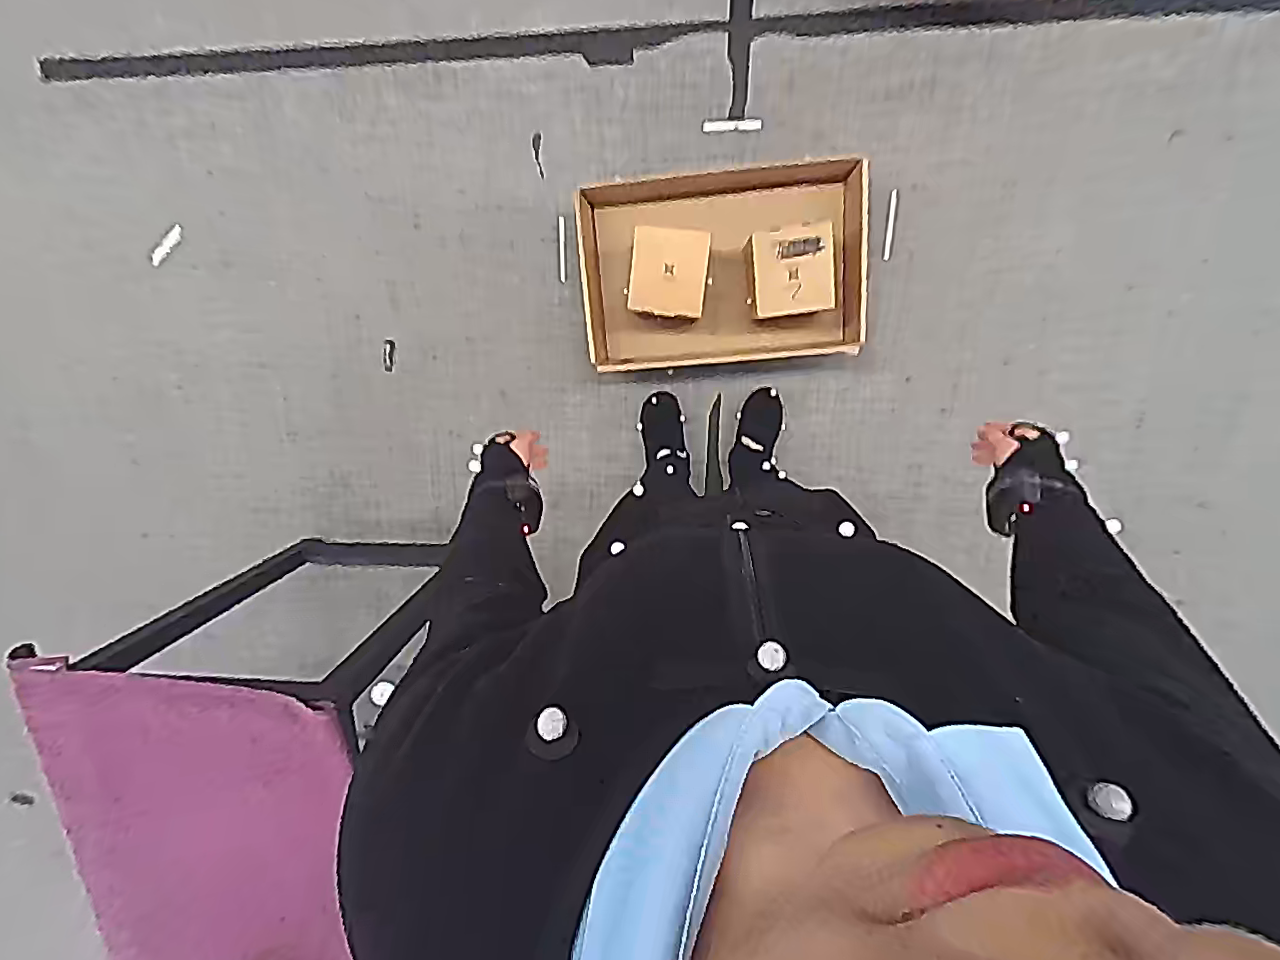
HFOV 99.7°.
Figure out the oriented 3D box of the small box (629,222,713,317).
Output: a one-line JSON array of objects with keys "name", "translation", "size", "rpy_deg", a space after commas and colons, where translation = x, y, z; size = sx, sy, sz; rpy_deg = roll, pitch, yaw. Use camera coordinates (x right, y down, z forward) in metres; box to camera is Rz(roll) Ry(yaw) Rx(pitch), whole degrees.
[{"name": "small box", "translation": [0.069, -0.474, 1.238], "size": [0.168, 0.176, 0.179], "rpy_deg": [6, 106, 2]}]
